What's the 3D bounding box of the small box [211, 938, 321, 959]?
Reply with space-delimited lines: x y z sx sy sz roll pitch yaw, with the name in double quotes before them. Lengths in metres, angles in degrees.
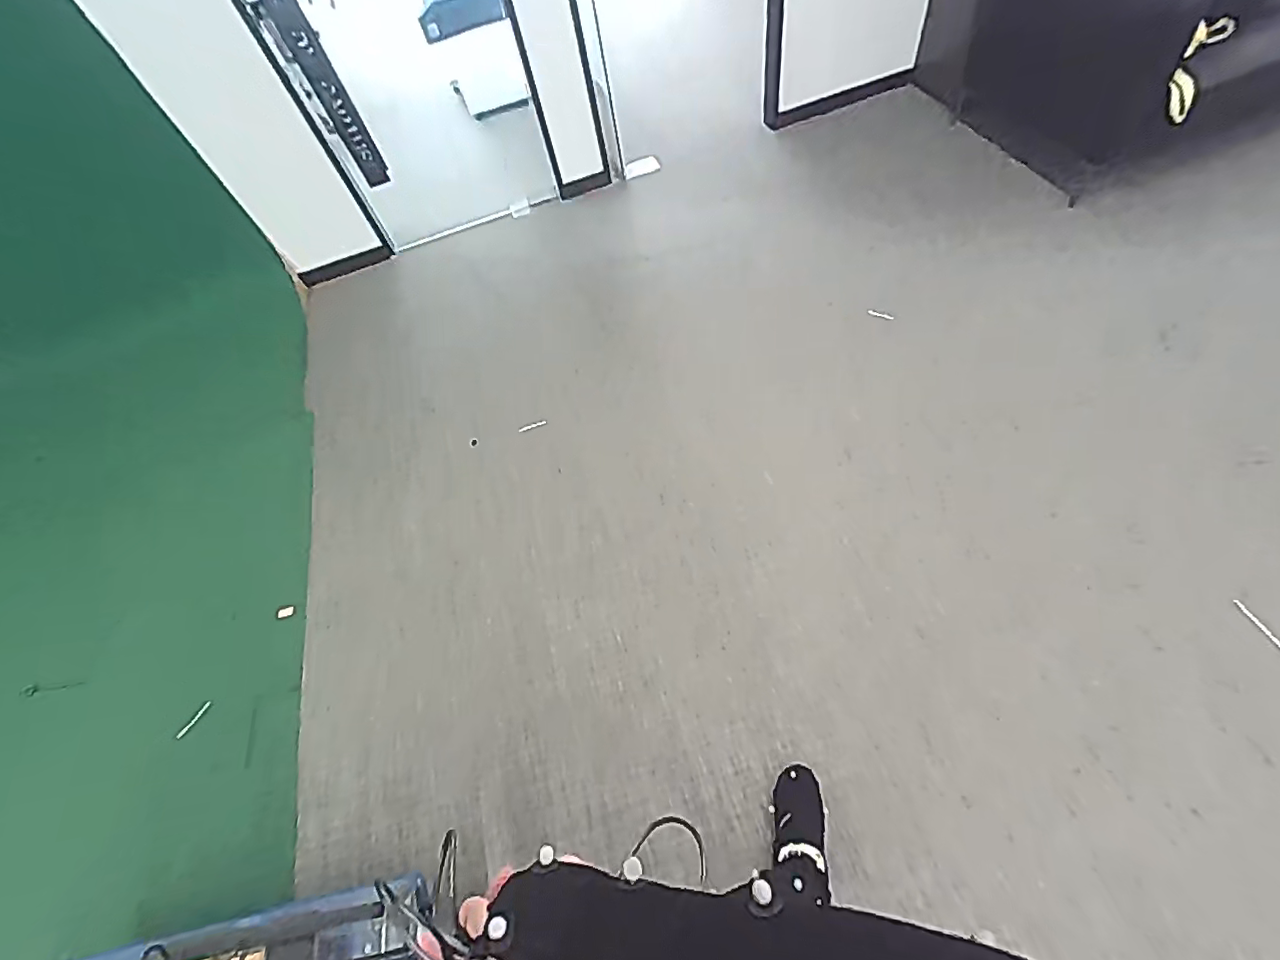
"small box" -0.767 1.024 1.054 0.179 0.176 0.168 -12 57 1
